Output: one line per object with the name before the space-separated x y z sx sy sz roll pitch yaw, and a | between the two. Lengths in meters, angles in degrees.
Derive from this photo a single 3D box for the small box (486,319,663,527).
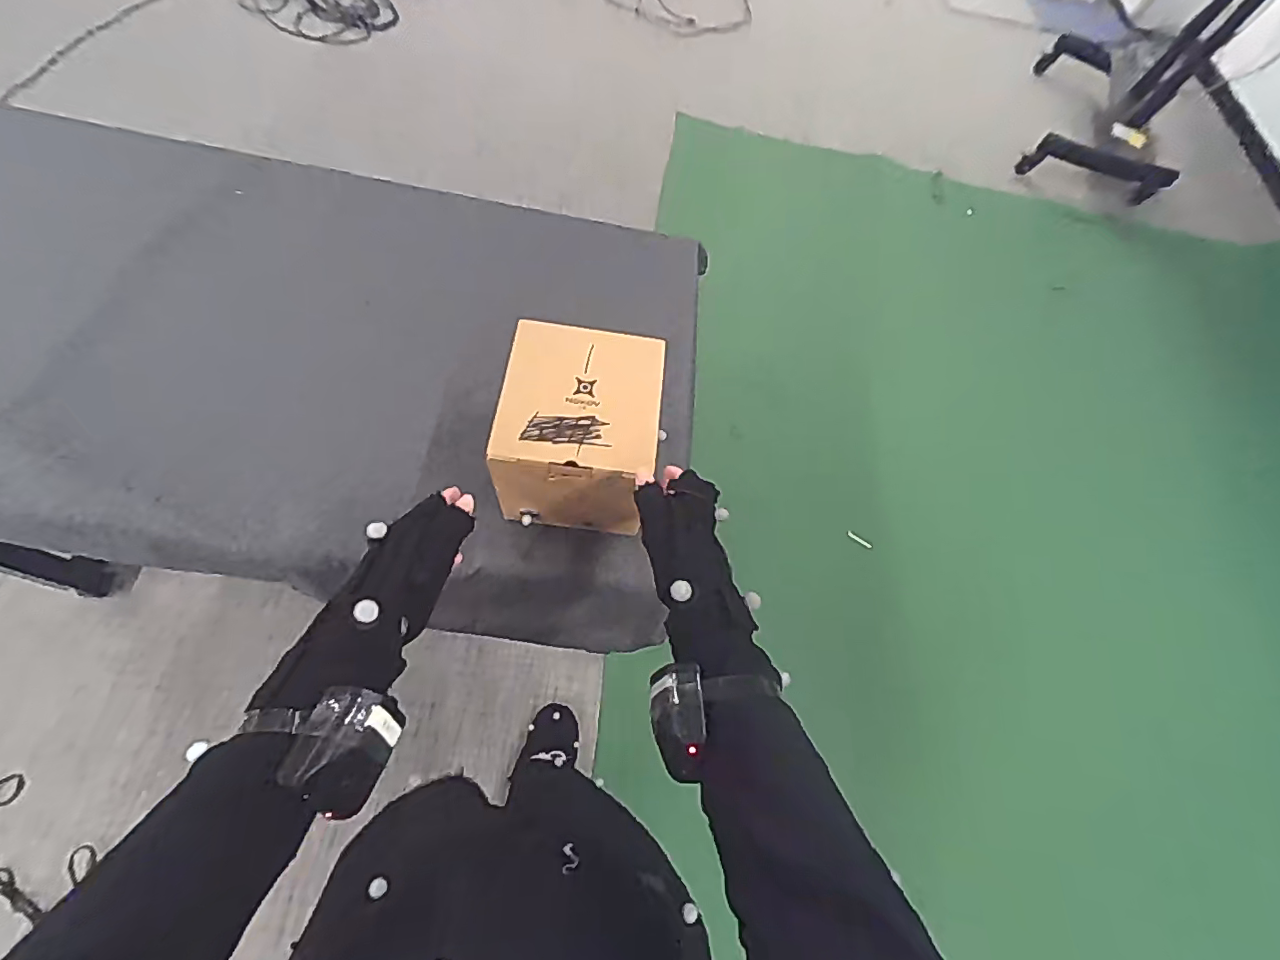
small box | -0.070 -0.057 0.638 0.168 0.176 0.179 8 63 -4
